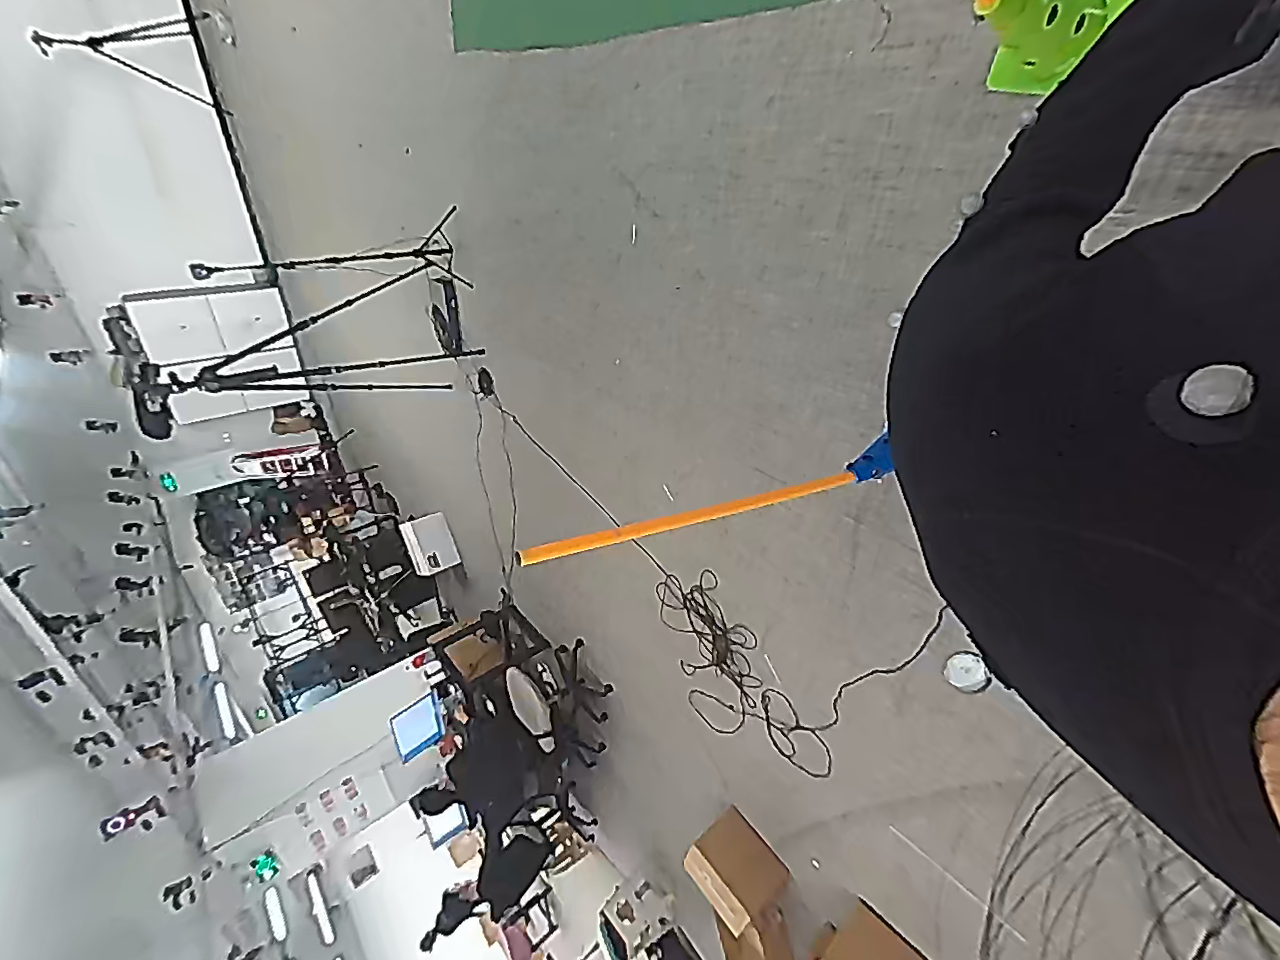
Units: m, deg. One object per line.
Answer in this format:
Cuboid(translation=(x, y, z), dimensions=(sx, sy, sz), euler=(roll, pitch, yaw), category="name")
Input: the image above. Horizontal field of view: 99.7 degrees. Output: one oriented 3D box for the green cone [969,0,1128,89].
Cuboid(translation=(0.682, -0.833, 0.953), dimensions=(0.202, 0.368, 0.200), euler=(38, 135, 36), category="green cone")
